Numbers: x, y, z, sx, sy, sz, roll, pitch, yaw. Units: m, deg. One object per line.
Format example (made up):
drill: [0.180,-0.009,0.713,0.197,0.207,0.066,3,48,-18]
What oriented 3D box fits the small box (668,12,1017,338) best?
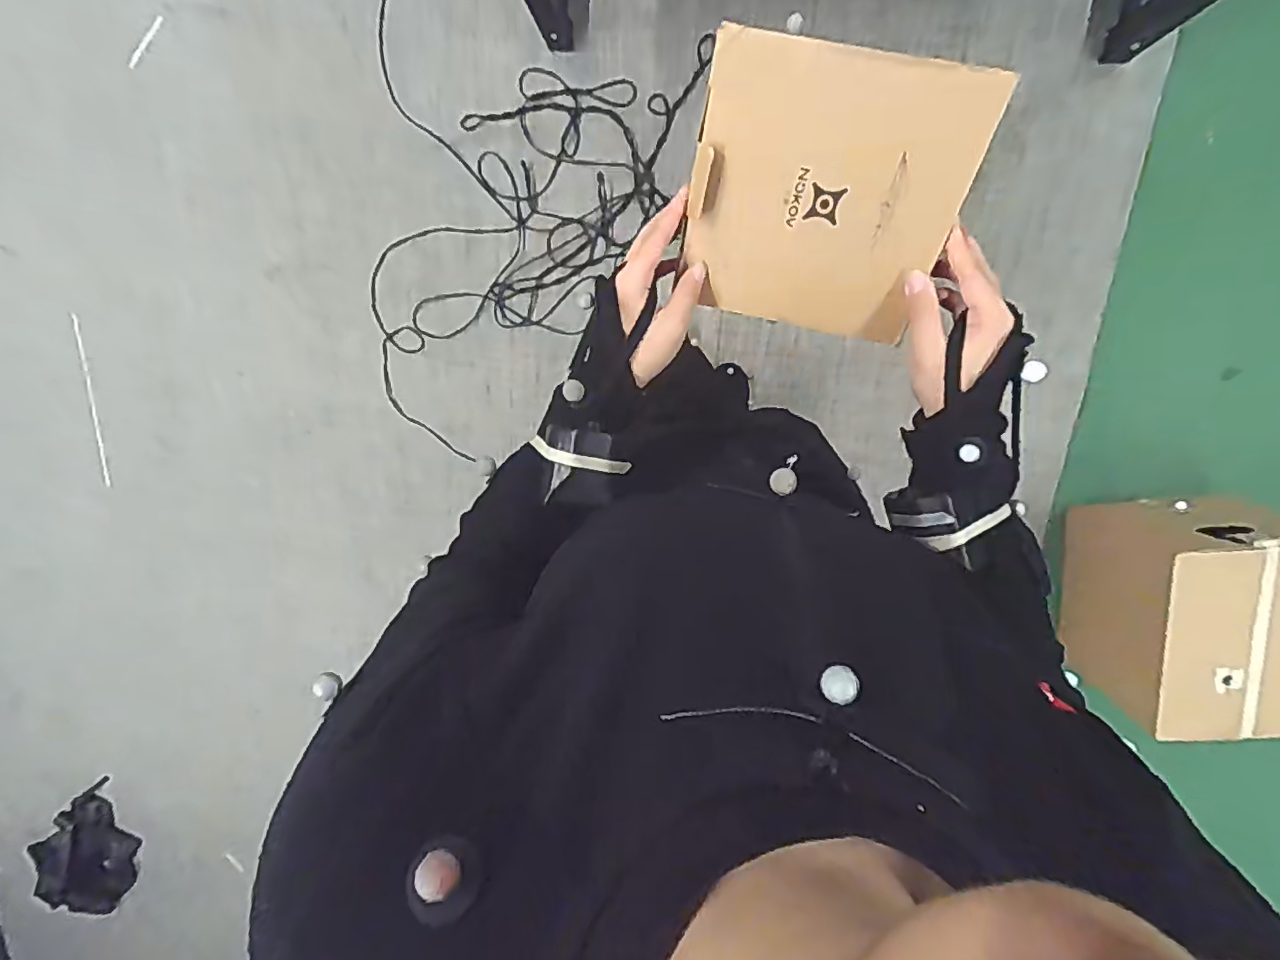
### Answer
small box: [0.130,-0.231,0.416,0.179,0.176,0.168,12,127,4]
